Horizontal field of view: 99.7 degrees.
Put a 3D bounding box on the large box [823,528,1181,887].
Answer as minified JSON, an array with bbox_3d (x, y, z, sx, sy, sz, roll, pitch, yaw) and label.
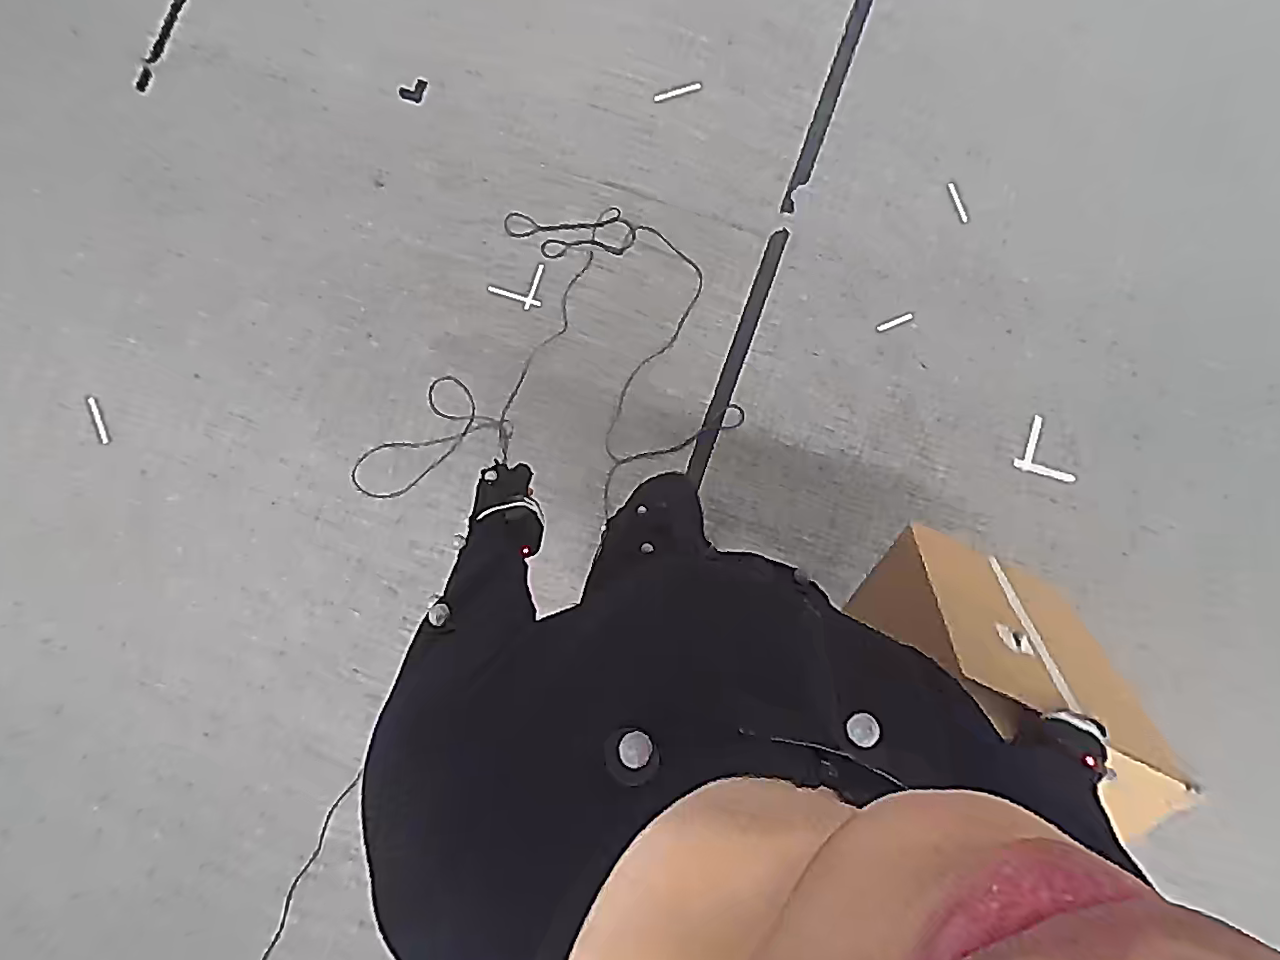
[{"bbox_3d":[0.537,0.358,0.927,0.320,0.408,0.320,25,120,3],"label":"large box"}]
